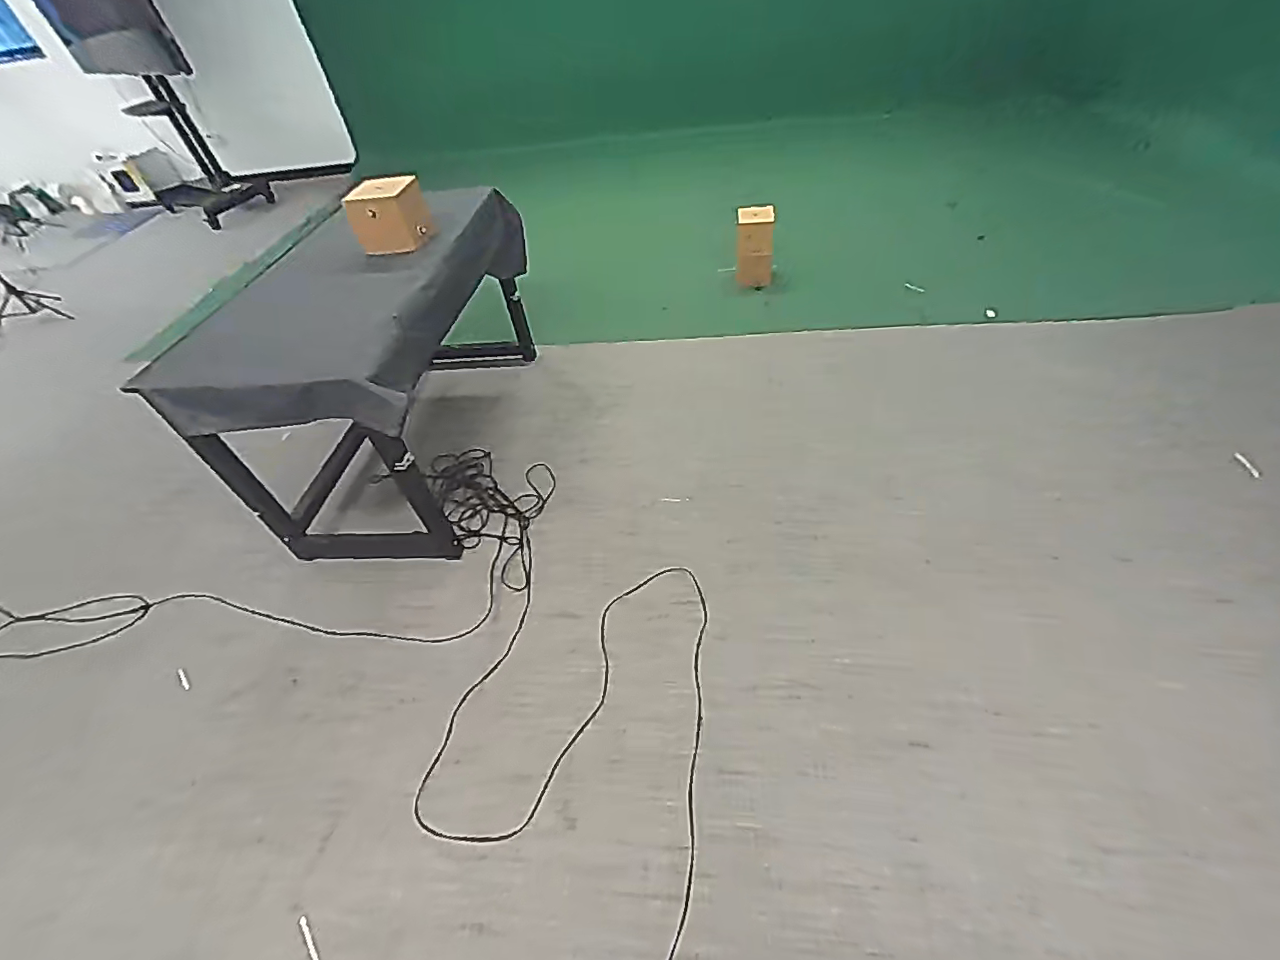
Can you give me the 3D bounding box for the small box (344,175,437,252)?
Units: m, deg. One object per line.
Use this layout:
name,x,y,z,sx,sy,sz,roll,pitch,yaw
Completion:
small box,-0.769,-0.825,1.684,0.179,0.176,0.168,0,48,8

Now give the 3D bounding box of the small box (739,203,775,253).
small box,0.565,-1.217,2.622,0.168,0.176,0.179,0,47,10
